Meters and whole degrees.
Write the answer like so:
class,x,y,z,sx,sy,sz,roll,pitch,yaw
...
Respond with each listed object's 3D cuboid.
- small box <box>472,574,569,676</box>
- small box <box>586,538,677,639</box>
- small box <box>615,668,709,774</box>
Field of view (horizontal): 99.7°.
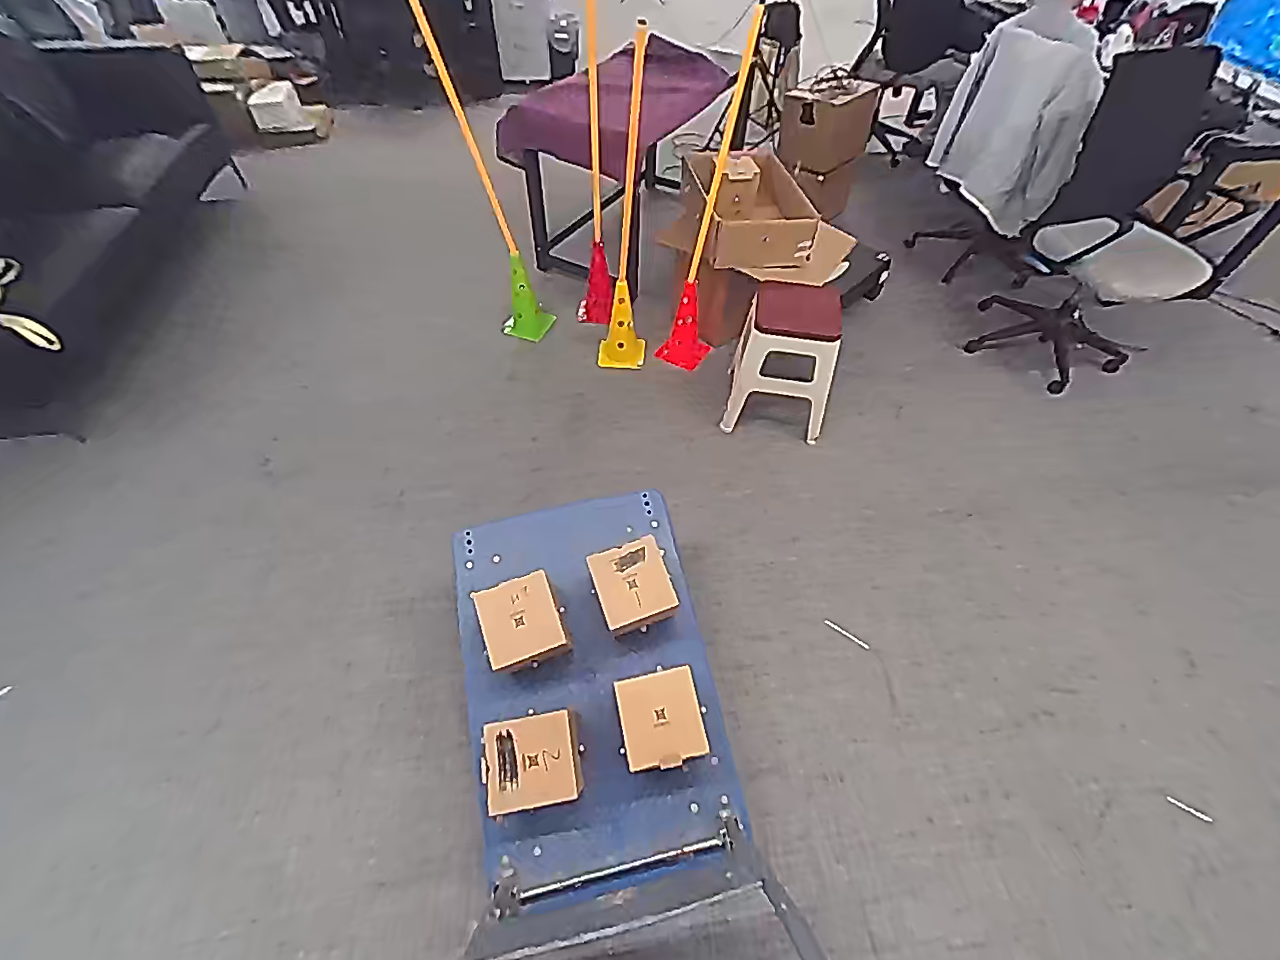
class,x,y,z,sx,sy,sz,roll,pitch,yaw
small box,-0.269,0.340,1.252,0.168,0.176,0.179,-19,70,-10
small box,-0.023,0.264,1.289,0.168,0.176,0.179,-18,70,-8
small box,0.039,0.523,1.185,0.168,0.176,0.179,-12,69,-6
